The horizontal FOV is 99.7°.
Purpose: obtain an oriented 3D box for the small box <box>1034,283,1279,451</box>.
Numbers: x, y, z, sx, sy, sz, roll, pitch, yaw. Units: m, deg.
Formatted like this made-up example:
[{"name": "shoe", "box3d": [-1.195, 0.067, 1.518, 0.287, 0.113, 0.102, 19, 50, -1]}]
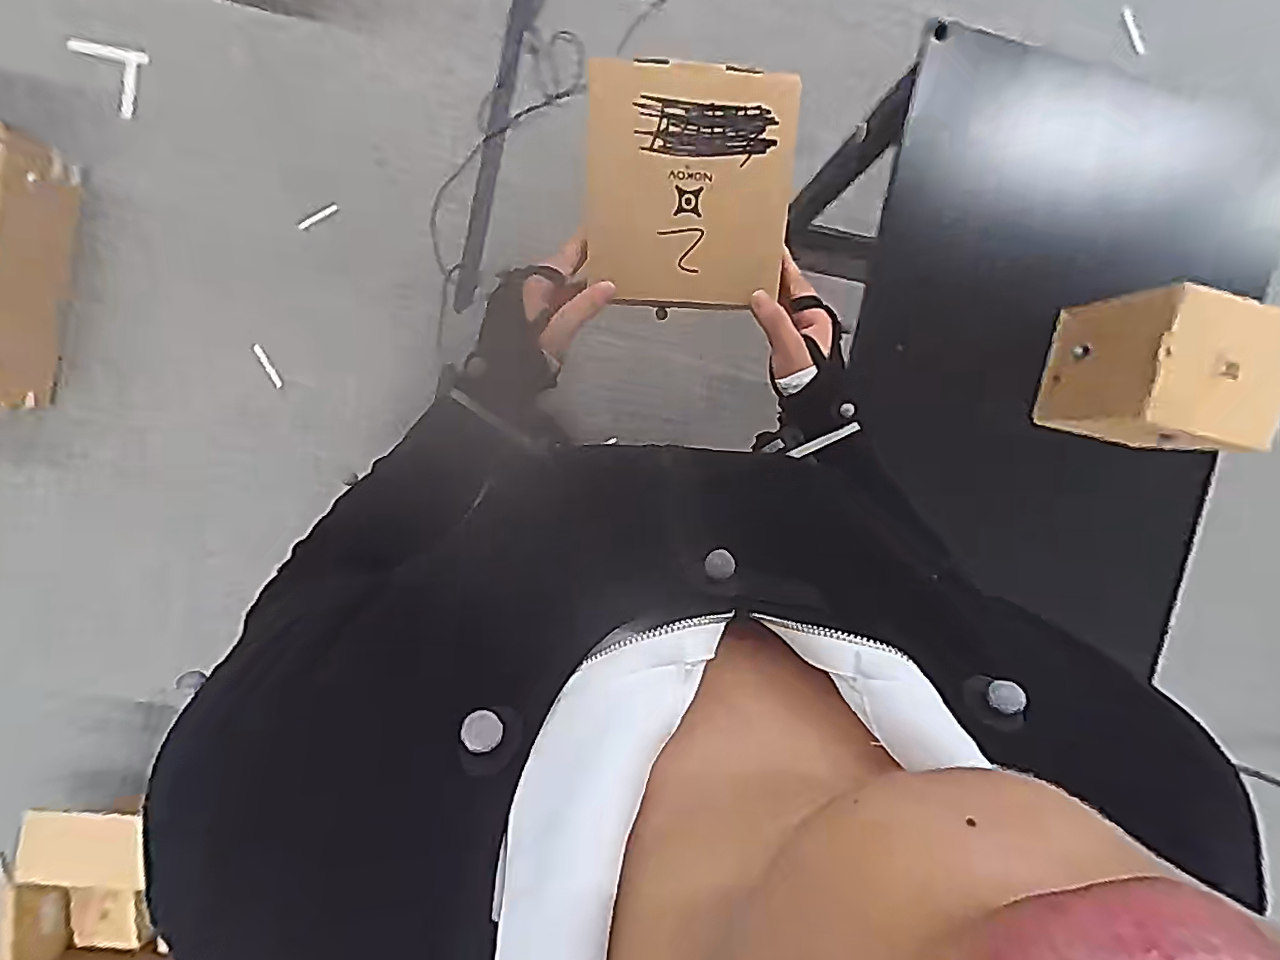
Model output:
[{"name": "small box", "box3d": [0.685, -0.141, 0.719, 0.179, 0.176, 0.168, 12, 95, -5]}]
